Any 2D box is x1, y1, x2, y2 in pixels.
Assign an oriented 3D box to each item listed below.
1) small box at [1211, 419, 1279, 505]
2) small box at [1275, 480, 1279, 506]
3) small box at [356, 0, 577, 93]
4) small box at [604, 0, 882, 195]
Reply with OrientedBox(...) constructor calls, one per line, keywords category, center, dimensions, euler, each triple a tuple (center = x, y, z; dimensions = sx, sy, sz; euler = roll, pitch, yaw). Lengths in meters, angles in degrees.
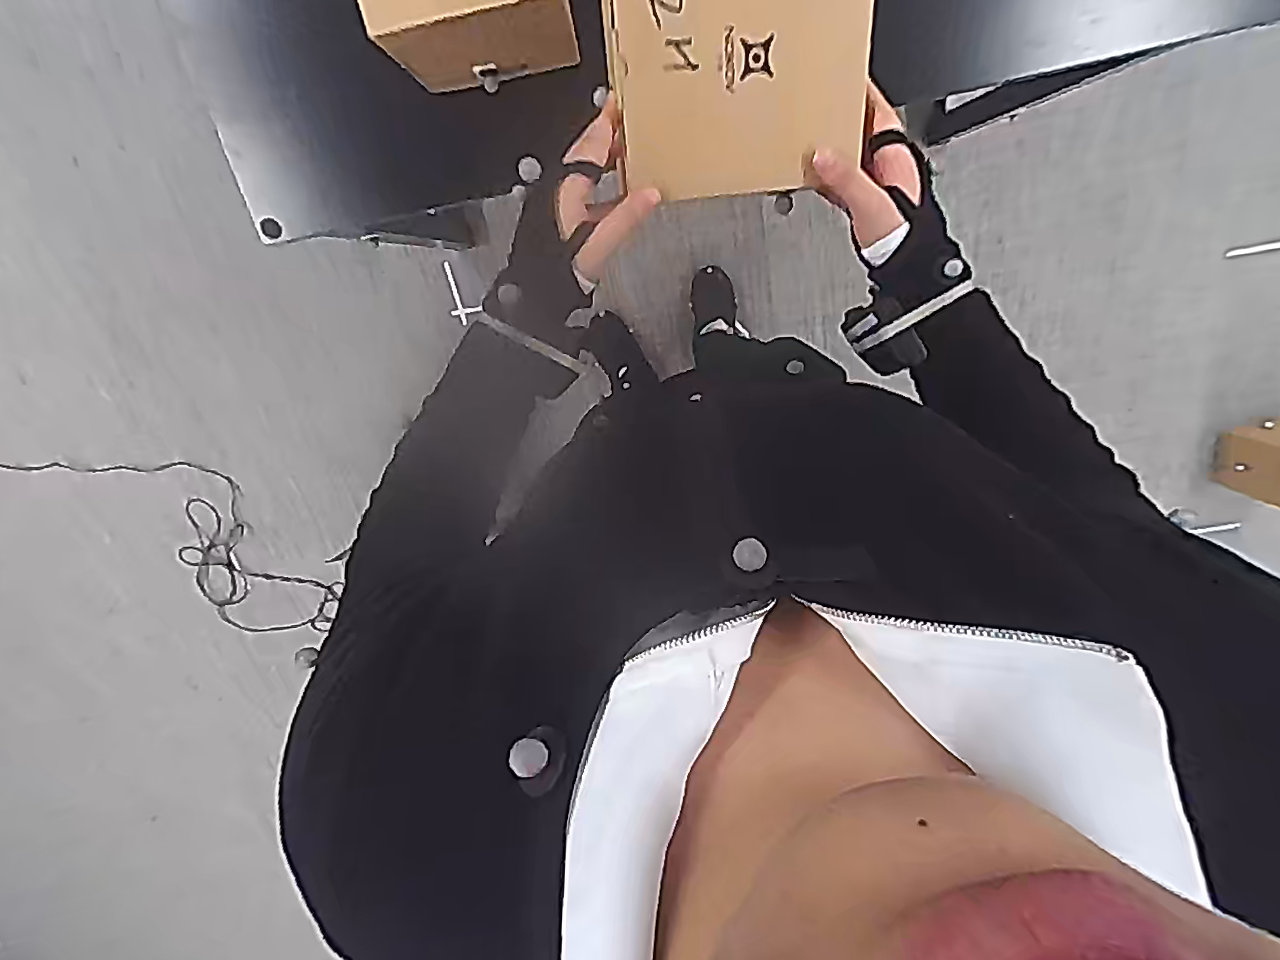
OrientedBox(category="small box", center=(1.723, -0.053, 1.465), dimensions=(0.179, 0.176, 0.168), euler=(-12, 111, 4))
OrientedBox(category="small box", center=(1.722, 0.002, 1.308), dimensions=(0.168, 0.176, 0.179), euler=(-13, 112, 4))
OrientedBox(category="small box", center=(-0.158, -0.481, 0.477), dimensions=(0.168, 0.176, 0.179), euler=(-10, 112, 4))
OrientedBox(category="small box", center=(0.066, -0.324, 0.426), dimensions=(0.179, 0.176, 0.168), euler=(-6, 117, -1))
